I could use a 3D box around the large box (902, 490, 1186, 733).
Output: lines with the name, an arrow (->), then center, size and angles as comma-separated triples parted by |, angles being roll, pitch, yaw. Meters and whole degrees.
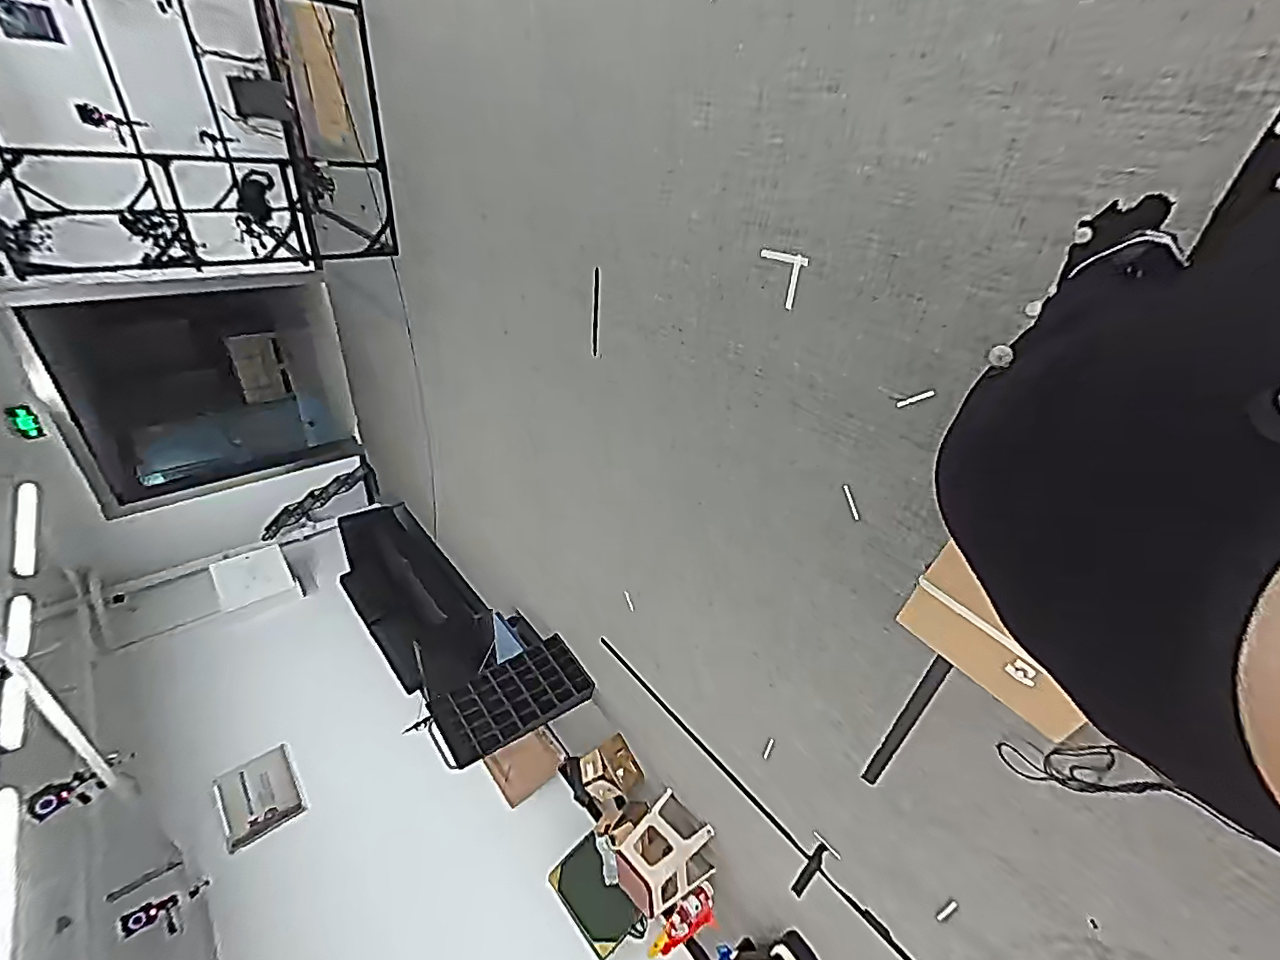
large box -> 0.932, 0.285, 1.283 | 0.408, 0.320, 0.320 | 39, 136, 33
